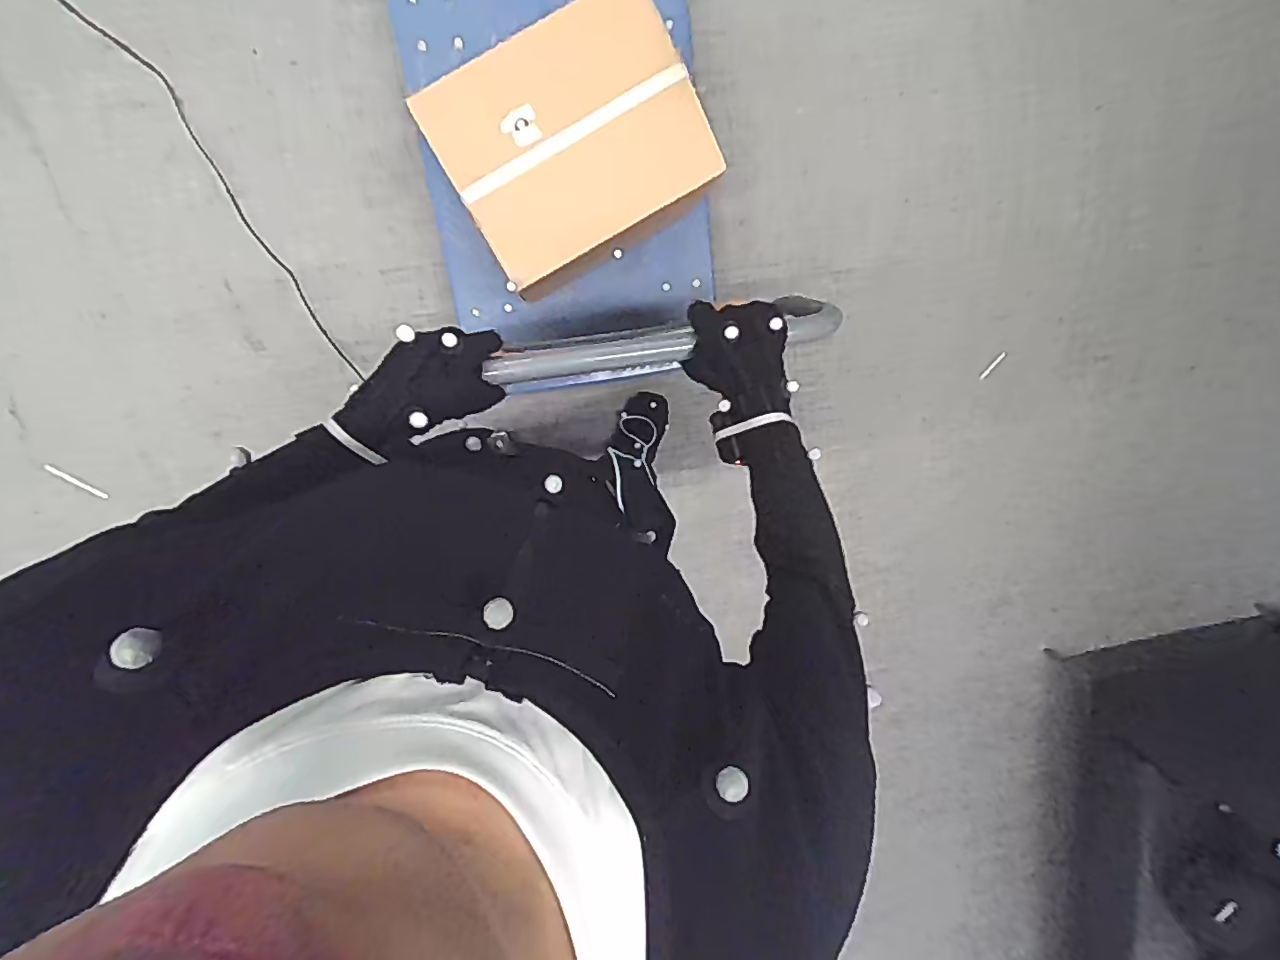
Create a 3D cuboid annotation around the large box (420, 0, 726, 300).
[{"bbox_3d":[-0.113,-0.580,1.004,0.408,0.320,0.320,-30,105,2],"label":"large box"}]
